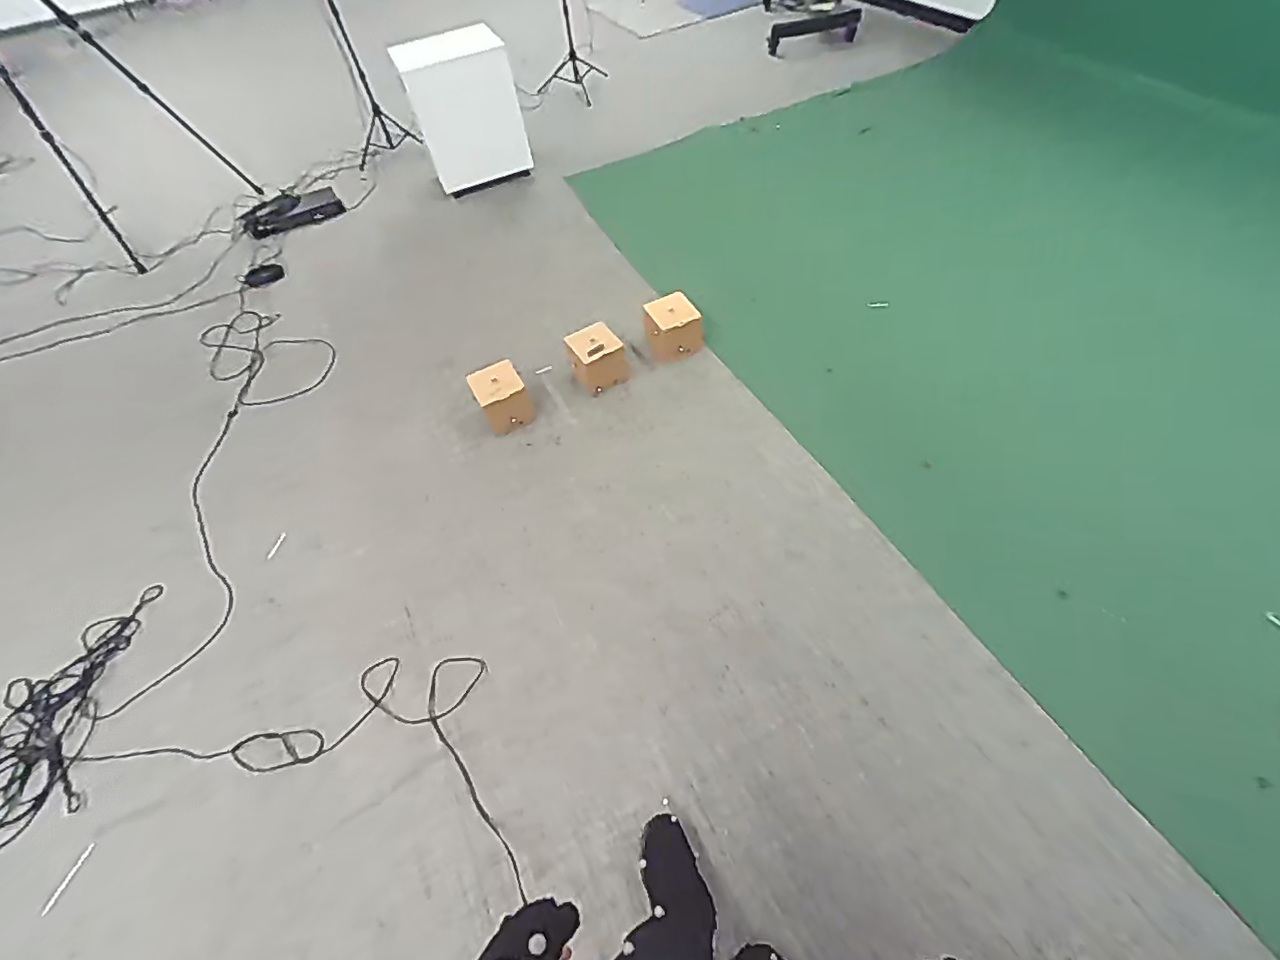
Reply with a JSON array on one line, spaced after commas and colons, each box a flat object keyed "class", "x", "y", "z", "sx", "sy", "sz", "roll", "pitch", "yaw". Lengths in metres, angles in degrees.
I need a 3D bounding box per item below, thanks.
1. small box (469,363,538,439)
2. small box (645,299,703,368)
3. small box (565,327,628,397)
[{"class": "small box", "x": -0.489, "y": -0.281, "z": 1.947, "sx": 0.168, "sy": 0.176, "sz": 0.179, "roll": -27, "pitch": 57, "yaw": -12}, {"class": "small box", "x": 0.130, "y": -0.566, "z": 2.099, "sx": 0.168, "sy": 0.176, "sz": 0.179, "roll": -24, "pitch": 56, "yaw": -11}, {"class": "small box", "x": -0.157, "y": -0.435, "z": 2.029, "sx": 0.168, "sy": 0.176, "sz": 0.179, "roll": -28, "pitch": 56, "yaw": -15}]
